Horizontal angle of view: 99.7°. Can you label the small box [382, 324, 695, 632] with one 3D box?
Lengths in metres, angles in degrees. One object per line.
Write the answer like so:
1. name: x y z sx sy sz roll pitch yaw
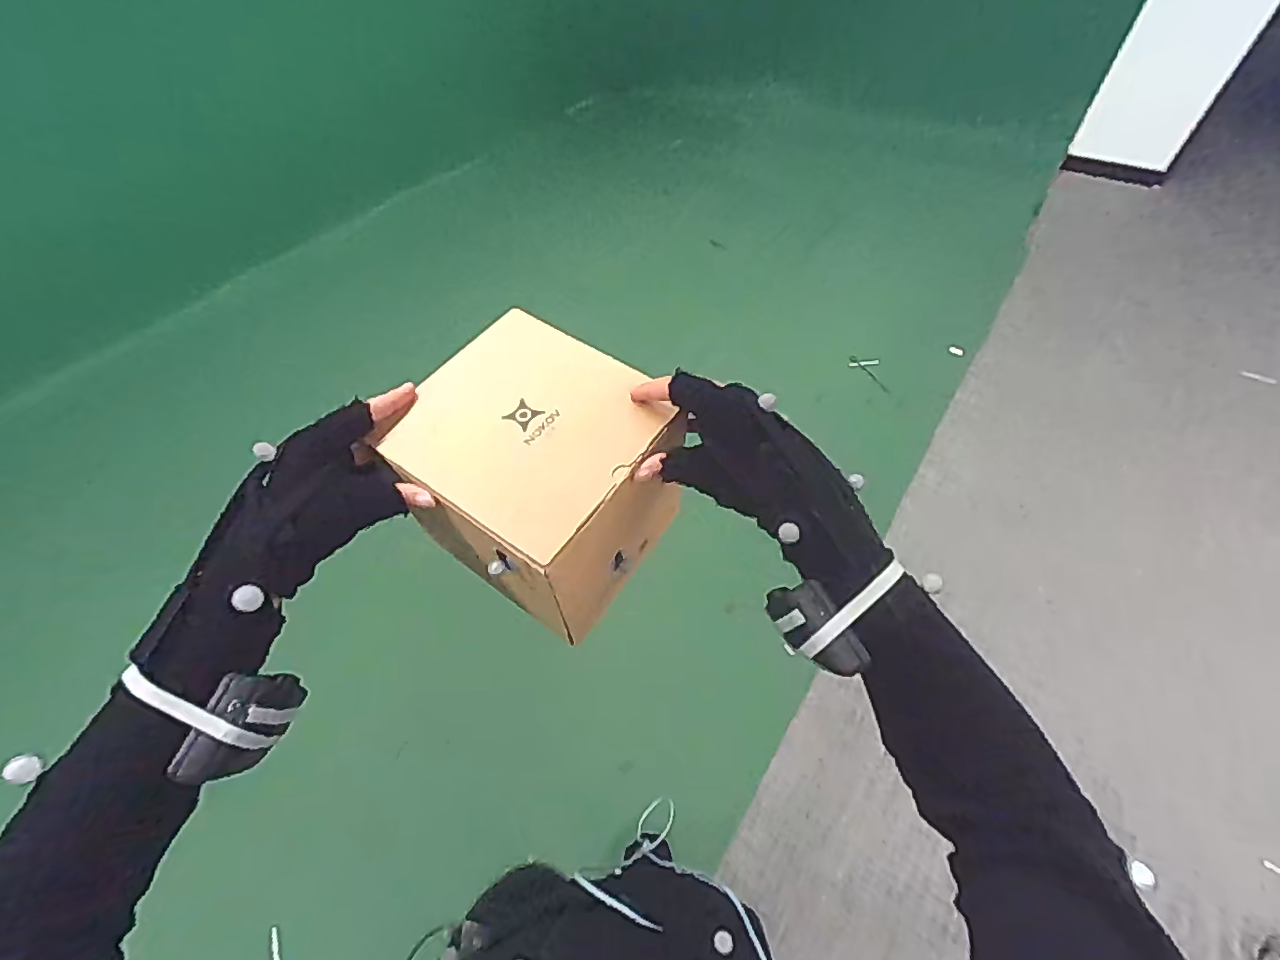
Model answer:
1. small box: -0.075 0.005 0.469 0.179 0.176 0.168 31 62 17
